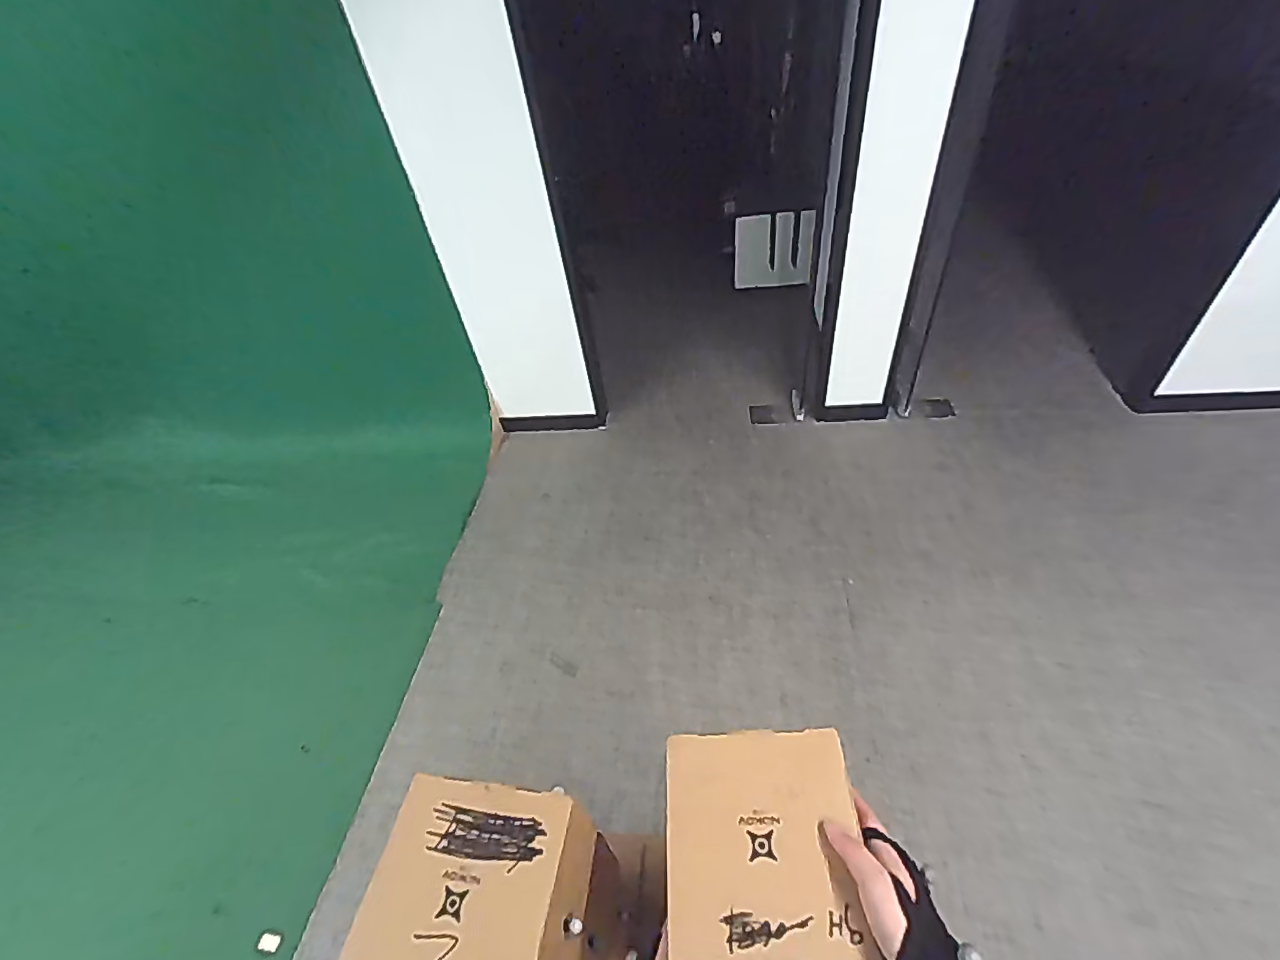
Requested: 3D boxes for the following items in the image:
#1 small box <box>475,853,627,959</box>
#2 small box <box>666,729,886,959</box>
[{"bbox_3d":[-0.115,0.646,0.746,0.168,0.176,0.179,1,45,9],"label":"small box"},{"bbox_3d":[0.118,0.361,0.516,0.168,0.176,0.179,-7,43,9],"label":"small box"}]
